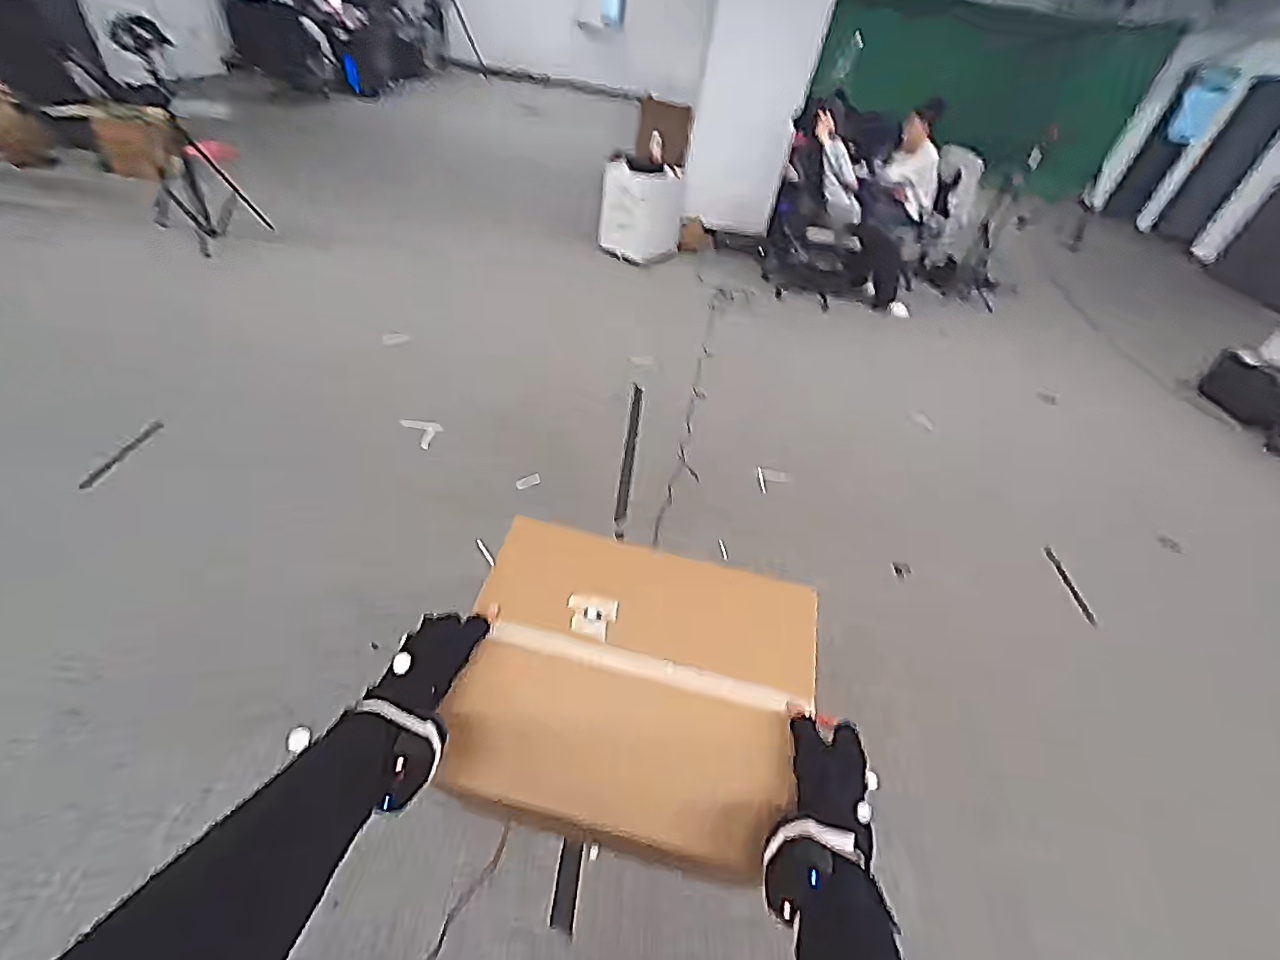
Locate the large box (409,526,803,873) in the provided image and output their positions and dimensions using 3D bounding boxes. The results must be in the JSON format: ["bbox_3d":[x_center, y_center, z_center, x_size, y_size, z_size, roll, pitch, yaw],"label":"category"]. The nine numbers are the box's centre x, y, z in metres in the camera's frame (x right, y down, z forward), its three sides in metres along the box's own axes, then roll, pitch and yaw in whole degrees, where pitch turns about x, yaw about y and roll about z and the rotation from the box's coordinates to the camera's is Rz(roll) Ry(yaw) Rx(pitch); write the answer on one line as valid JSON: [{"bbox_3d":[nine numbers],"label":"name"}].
[{"bbox_3d":[-0.021,0.307,0.741,0.408,0.320,0.320,13,51,4],"label":"large box"}]
